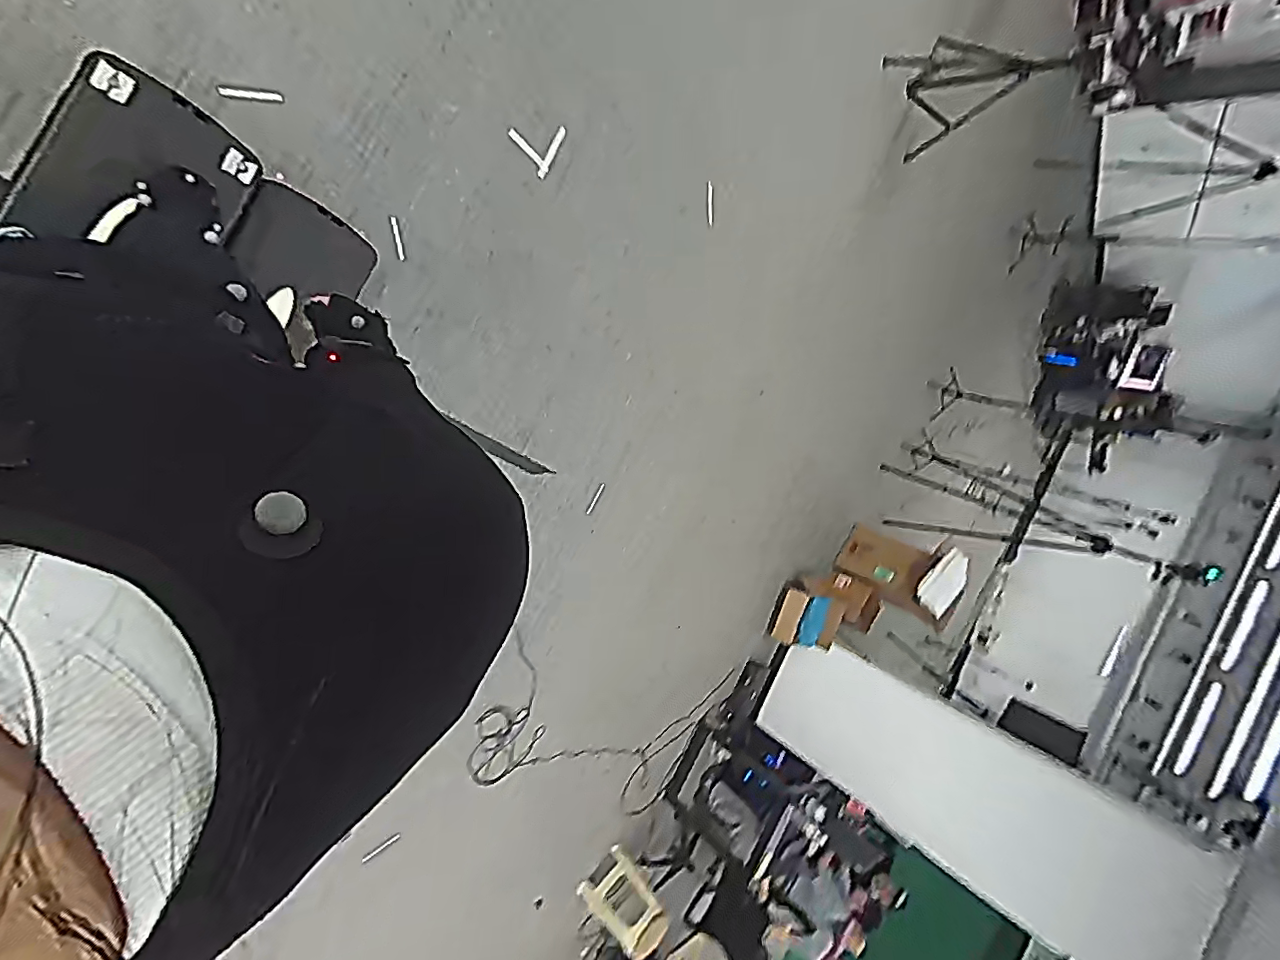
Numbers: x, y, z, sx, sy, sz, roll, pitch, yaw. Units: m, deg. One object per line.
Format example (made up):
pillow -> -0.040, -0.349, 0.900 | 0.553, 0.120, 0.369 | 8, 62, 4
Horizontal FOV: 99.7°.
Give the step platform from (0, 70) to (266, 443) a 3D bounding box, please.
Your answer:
step platform -> -1.047, -0.420, 1.073 | 0.286, 0.204, 0.684 | 29, 86, -49
